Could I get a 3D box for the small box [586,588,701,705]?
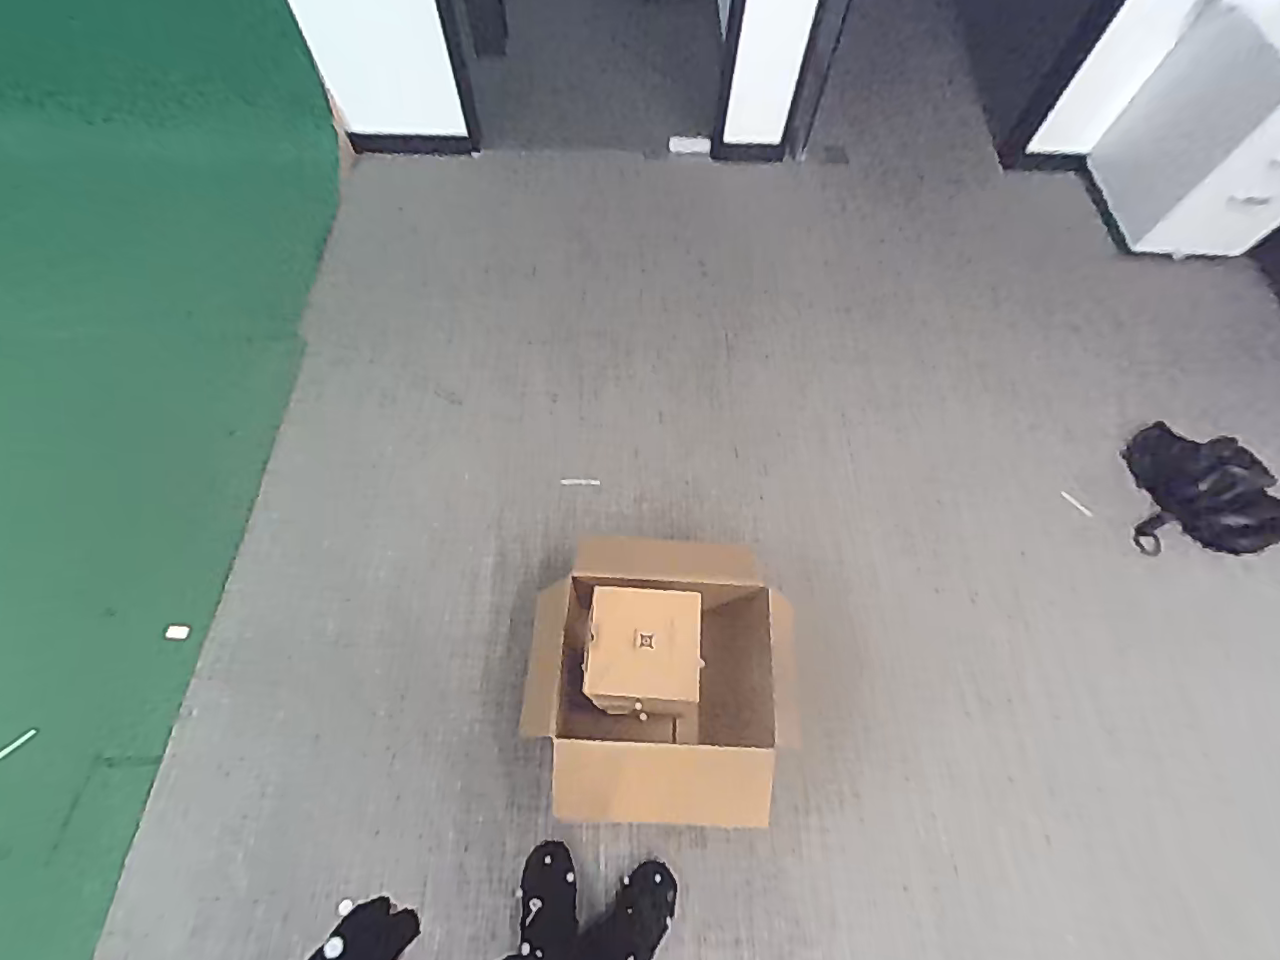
[{"bbox_3d":[0.010,0.288,0.920,0.179,0.176,0.168,2,65,1],"label":"small box"}]
